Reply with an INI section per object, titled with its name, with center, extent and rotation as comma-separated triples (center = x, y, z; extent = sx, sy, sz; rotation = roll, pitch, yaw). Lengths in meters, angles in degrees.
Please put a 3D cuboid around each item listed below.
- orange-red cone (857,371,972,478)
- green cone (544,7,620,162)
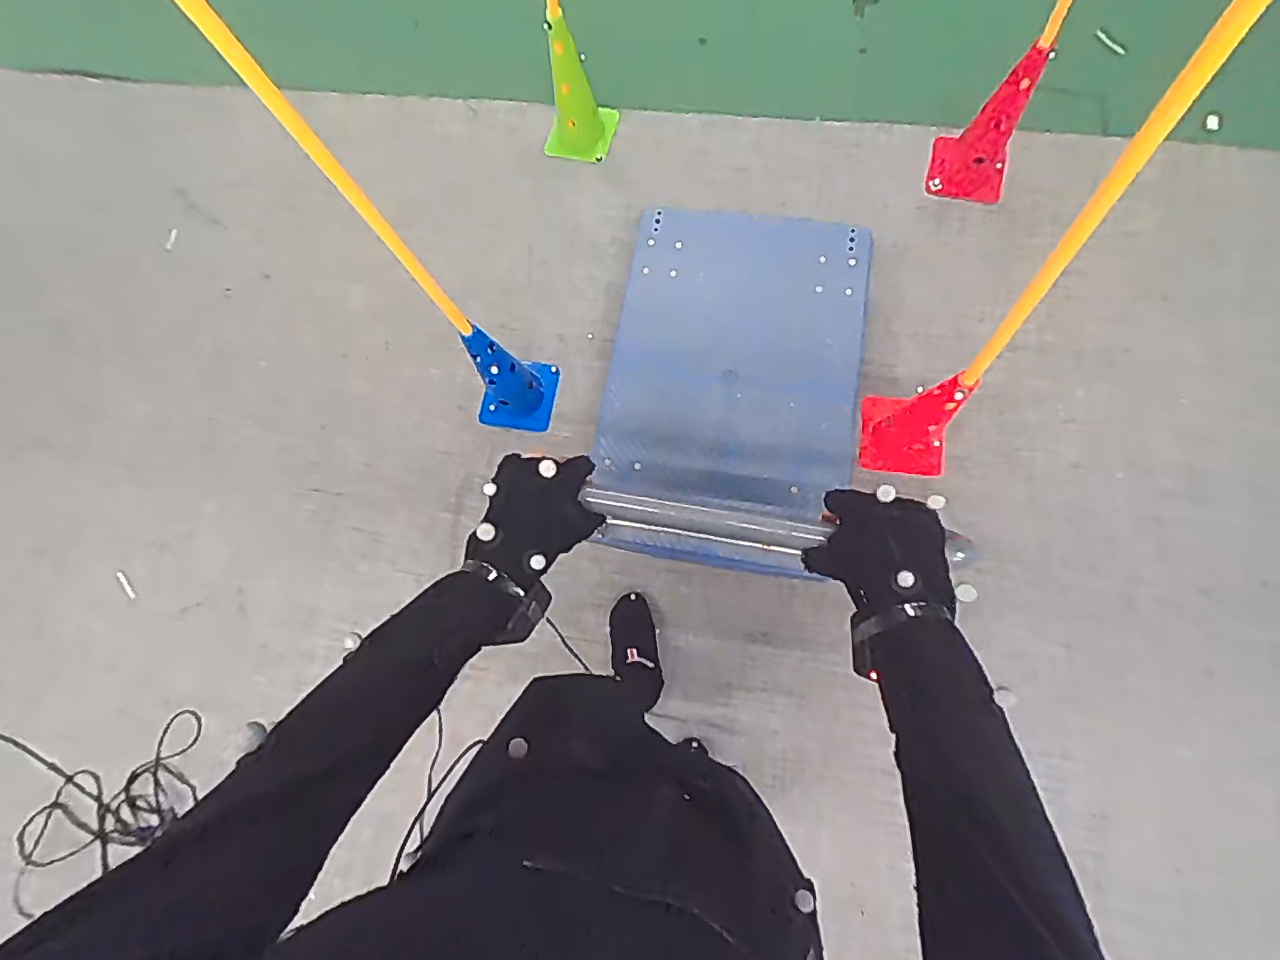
[orange-red cone]
center = 0.641, -0.150, 1.213
extent = 0.199, 0.360, 0.198
rotation = 8, 77, 9
[green cone]
center = -0.195, -1.124, 1.520
extent = 0.202, 0.368, 0.200
rotation = 13, 78, 9
